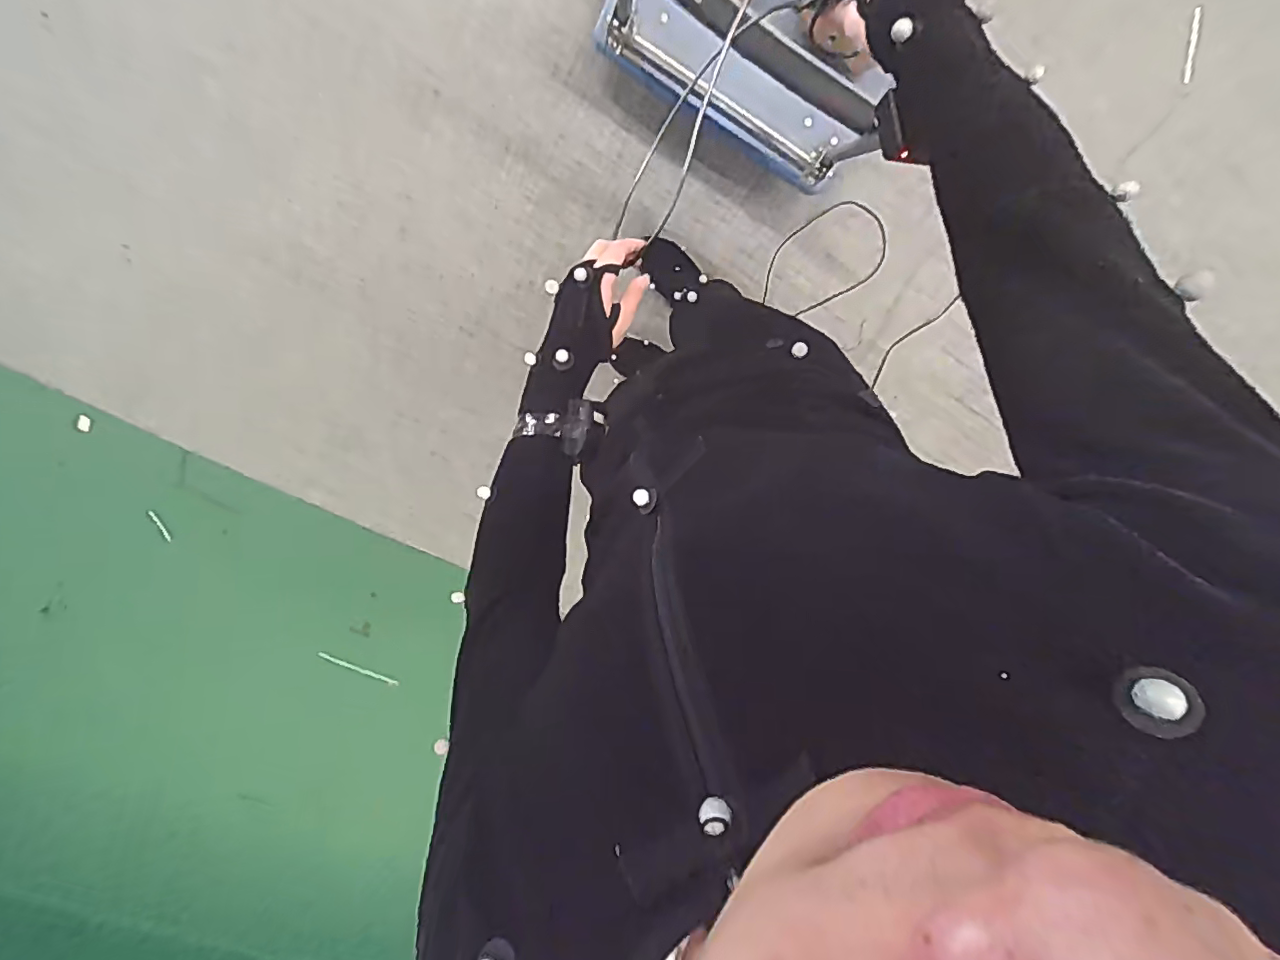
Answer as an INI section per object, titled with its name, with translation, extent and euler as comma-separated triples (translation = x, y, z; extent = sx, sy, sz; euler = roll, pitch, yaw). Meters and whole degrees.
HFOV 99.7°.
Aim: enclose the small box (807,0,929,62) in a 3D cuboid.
[small box]
translation = 0.423, -0.892, 0.954
extent = 0.168, 0.176, 0.179
euler = 28, 116, -14
